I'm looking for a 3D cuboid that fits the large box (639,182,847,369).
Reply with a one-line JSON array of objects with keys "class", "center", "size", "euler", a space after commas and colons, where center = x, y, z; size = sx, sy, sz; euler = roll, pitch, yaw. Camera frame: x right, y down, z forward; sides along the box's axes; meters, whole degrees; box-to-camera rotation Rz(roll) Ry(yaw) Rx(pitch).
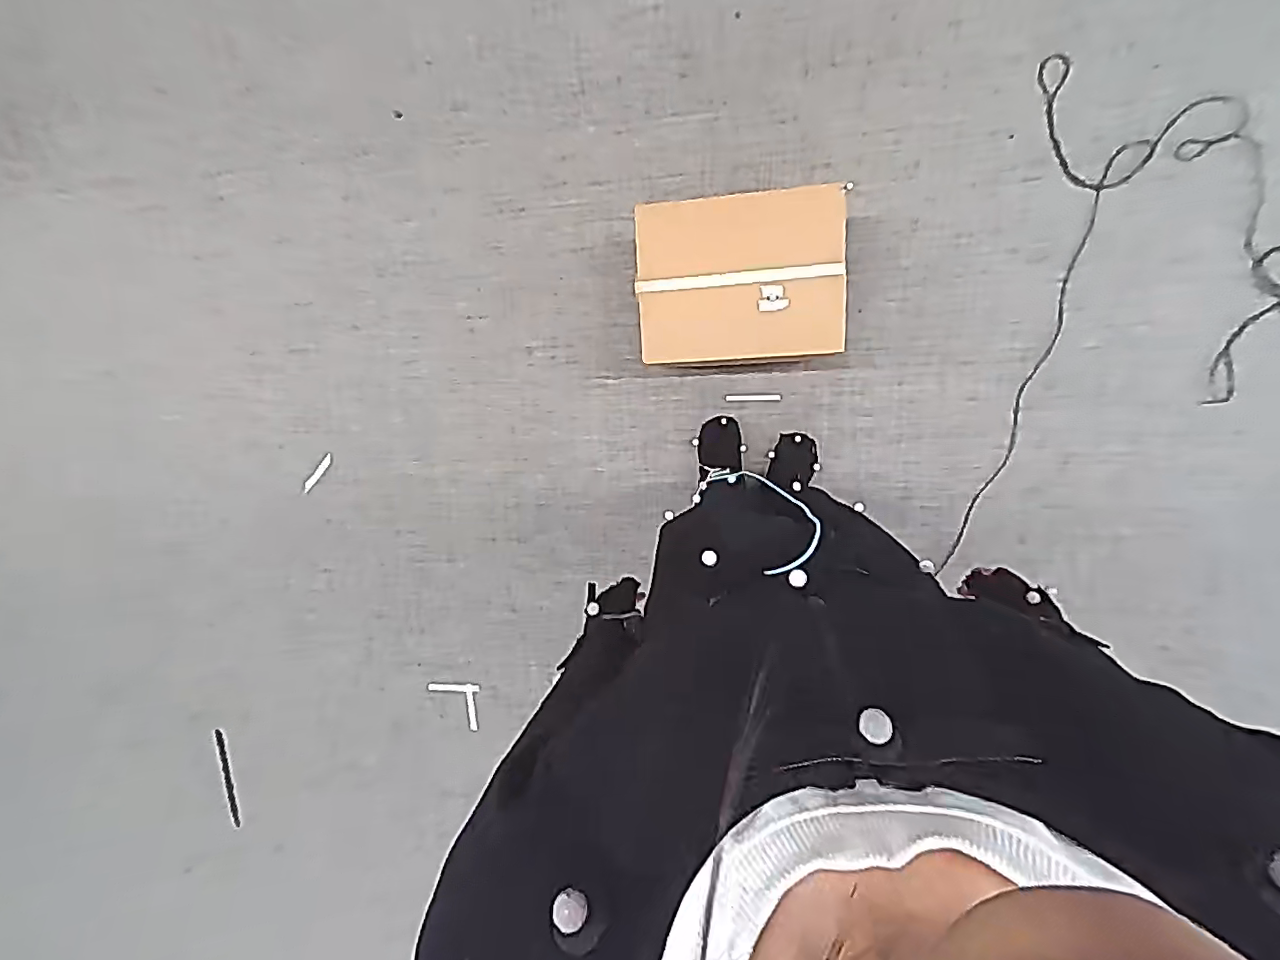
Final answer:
[{"class": "large box", "center": [0.226, -0.426, 1.219], "size": [0.408, 0.320, 0.320], "euler": [-2, 100, 10]}]
